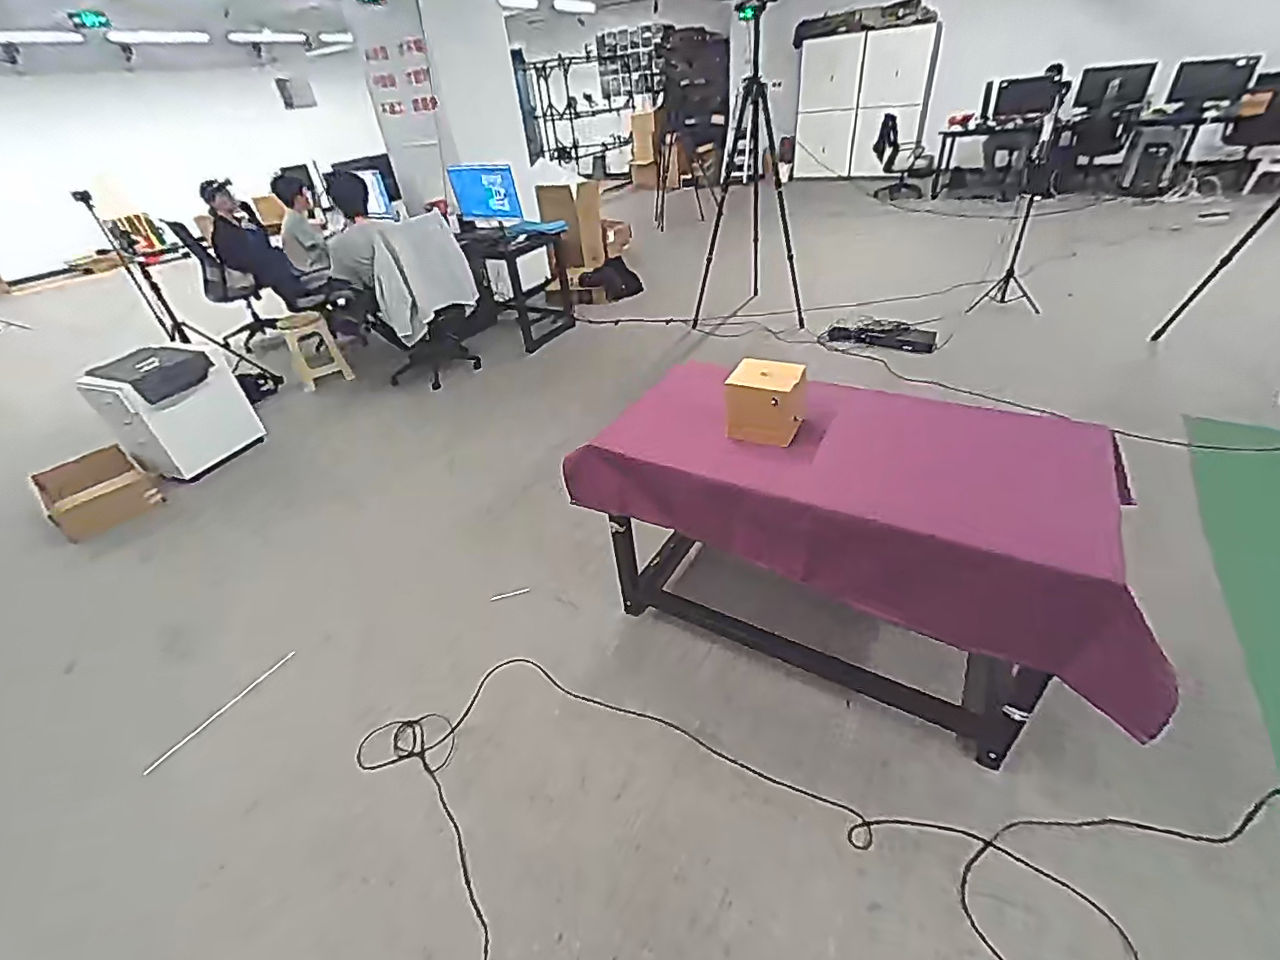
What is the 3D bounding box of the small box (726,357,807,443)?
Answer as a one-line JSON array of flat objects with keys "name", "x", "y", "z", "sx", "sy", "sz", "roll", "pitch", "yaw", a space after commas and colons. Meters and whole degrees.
[{"name": "small box", "x": 0.343, "y": -0.218, "z": 1.476, "sx": 0.179, "sy": 0.176, "sz": 0.168, "roll": 14, "pitch": 41, "yaw": 24}]
